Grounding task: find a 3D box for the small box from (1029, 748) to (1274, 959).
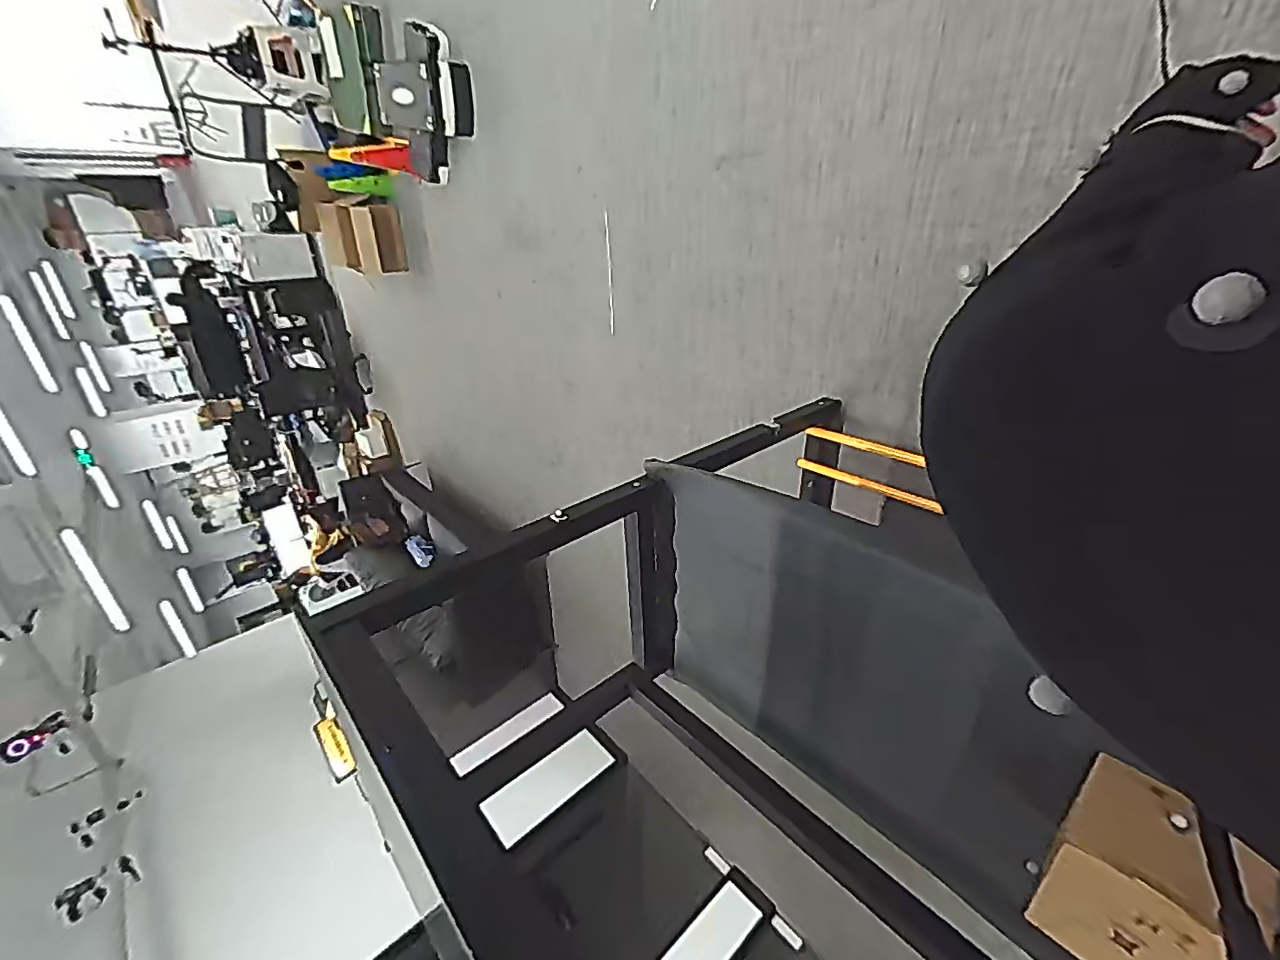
[{"bbox_3d":[0.617,0.478,0.657,0.168,0.176,0.179,25,127,42],"label":"small box"}]
